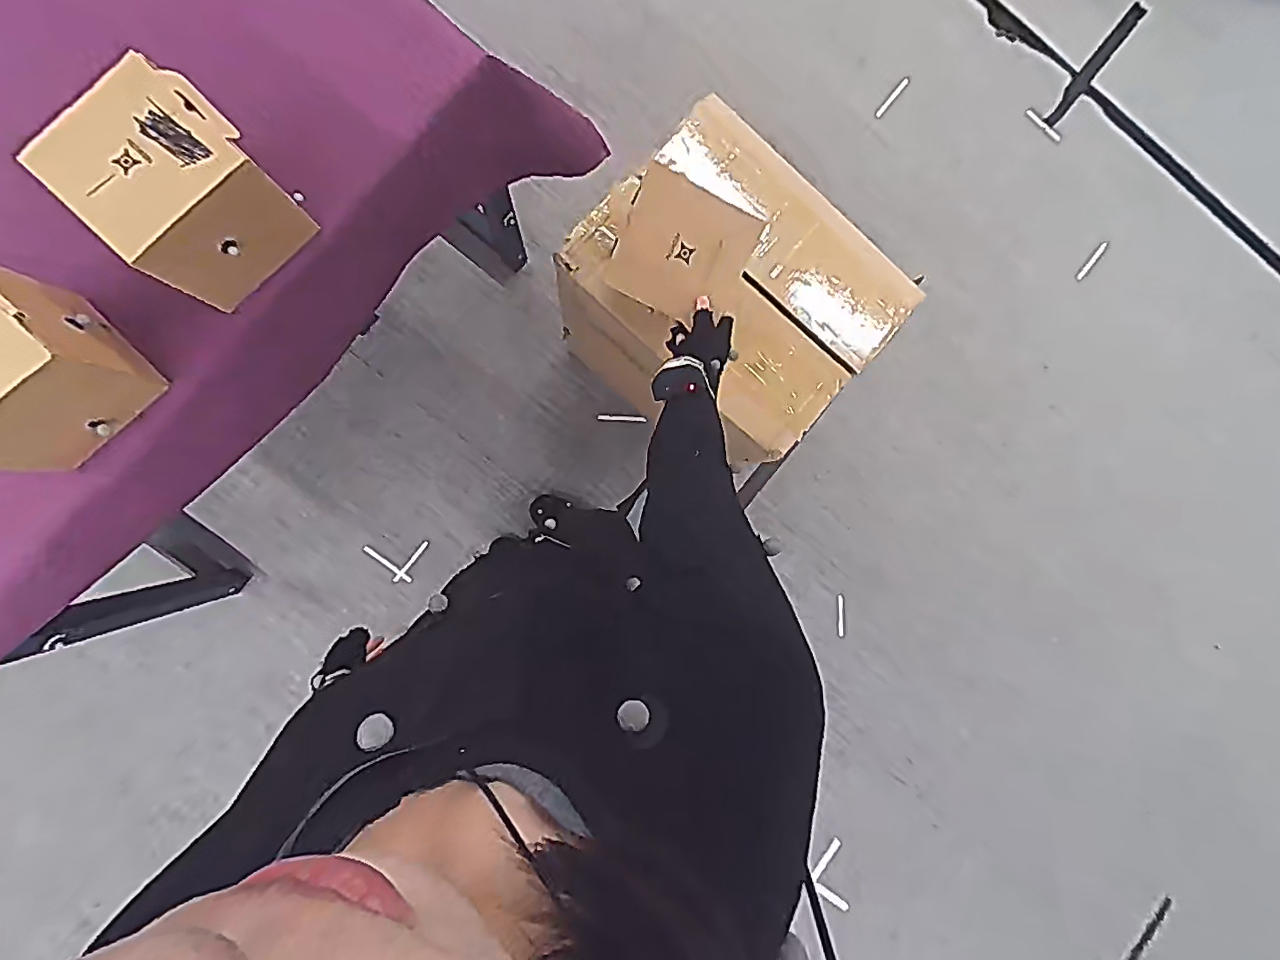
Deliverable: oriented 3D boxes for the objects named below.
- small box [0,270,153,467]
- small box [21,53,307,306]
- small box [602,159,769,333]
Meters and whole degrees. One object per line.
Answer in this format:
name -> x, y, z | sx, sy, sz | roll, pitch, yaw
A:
small box -> -0.748, -0.133, 0.646 | 0.179, 0.176, 0.168 | -44, 92, -6
small box -> -0.557, -0.352, 0.670 | 0.168, 0.176, 0.179 | 45, 86, -2
small box -> 0.060, -0.337, 0.804 | 0.179, 0.176, 0.168 | 25, 109, -9
